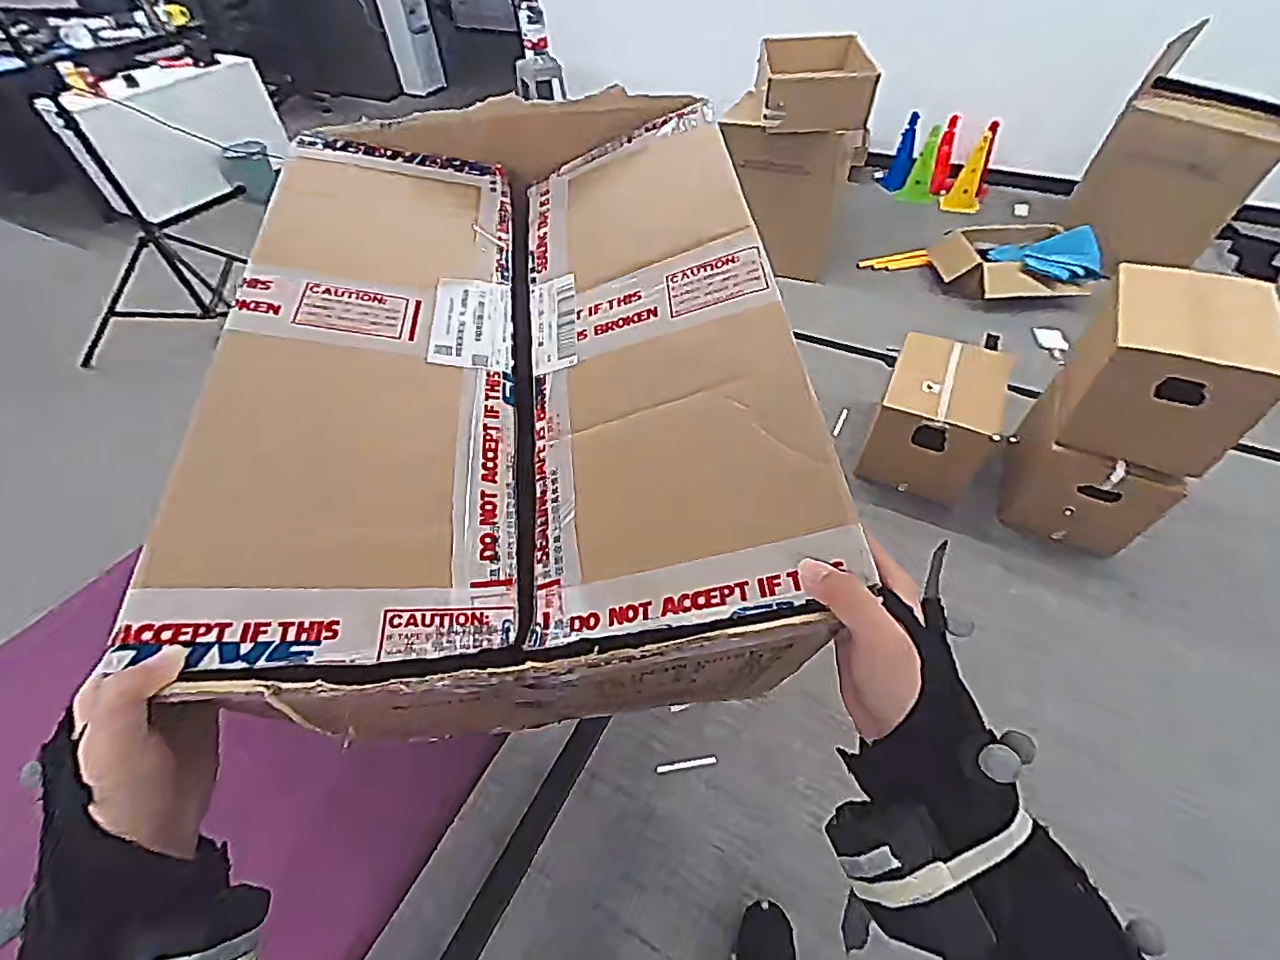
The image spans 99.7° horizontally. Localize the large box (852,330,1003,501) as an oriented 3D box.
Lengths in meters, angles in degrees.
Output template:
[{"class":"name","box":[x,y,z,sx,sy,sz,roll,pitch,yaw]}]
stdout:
[{"class":"large box","box":[0.914,-0.211,1.735,0.320,0.320,0.408,20,54,19]}]
